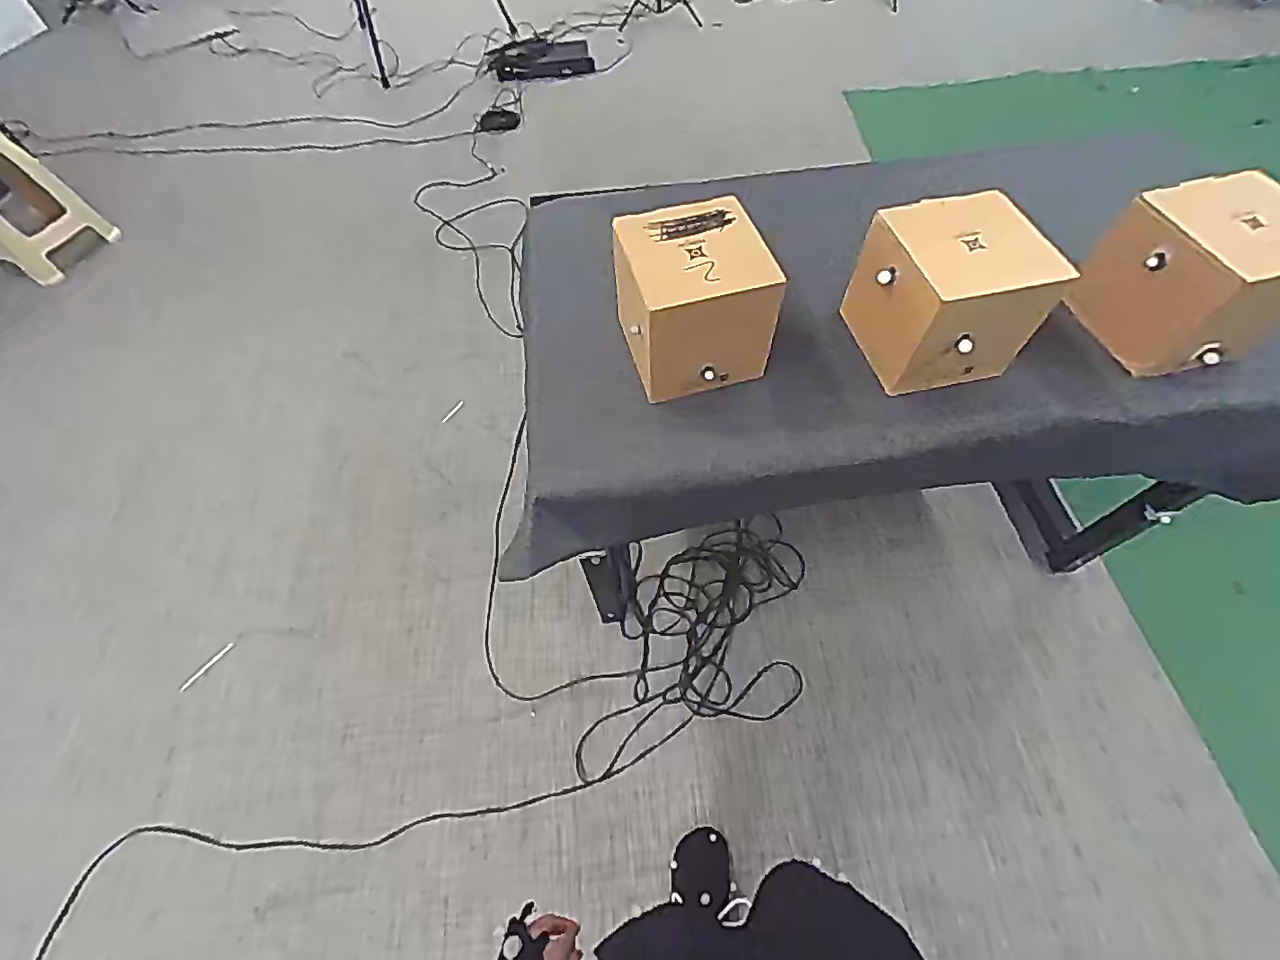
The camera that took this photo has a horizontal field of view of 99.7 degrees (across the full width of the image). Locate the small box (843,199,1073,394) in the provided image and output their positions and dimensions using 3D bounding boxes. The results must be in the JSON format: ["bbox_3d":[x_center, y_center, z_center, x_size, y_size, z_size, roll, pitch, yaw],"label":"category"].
[{"bbox_3d":[0.394,-0.230,0.710,0.168,0.176,0.179,-11,58,-4],"label":"small box"}]

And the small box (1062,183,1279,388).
[{"bbox_3d":[0.719,-0.250,0.711,0.168,0.176,0.179,-13,60,-4],"label":"small box"}]
